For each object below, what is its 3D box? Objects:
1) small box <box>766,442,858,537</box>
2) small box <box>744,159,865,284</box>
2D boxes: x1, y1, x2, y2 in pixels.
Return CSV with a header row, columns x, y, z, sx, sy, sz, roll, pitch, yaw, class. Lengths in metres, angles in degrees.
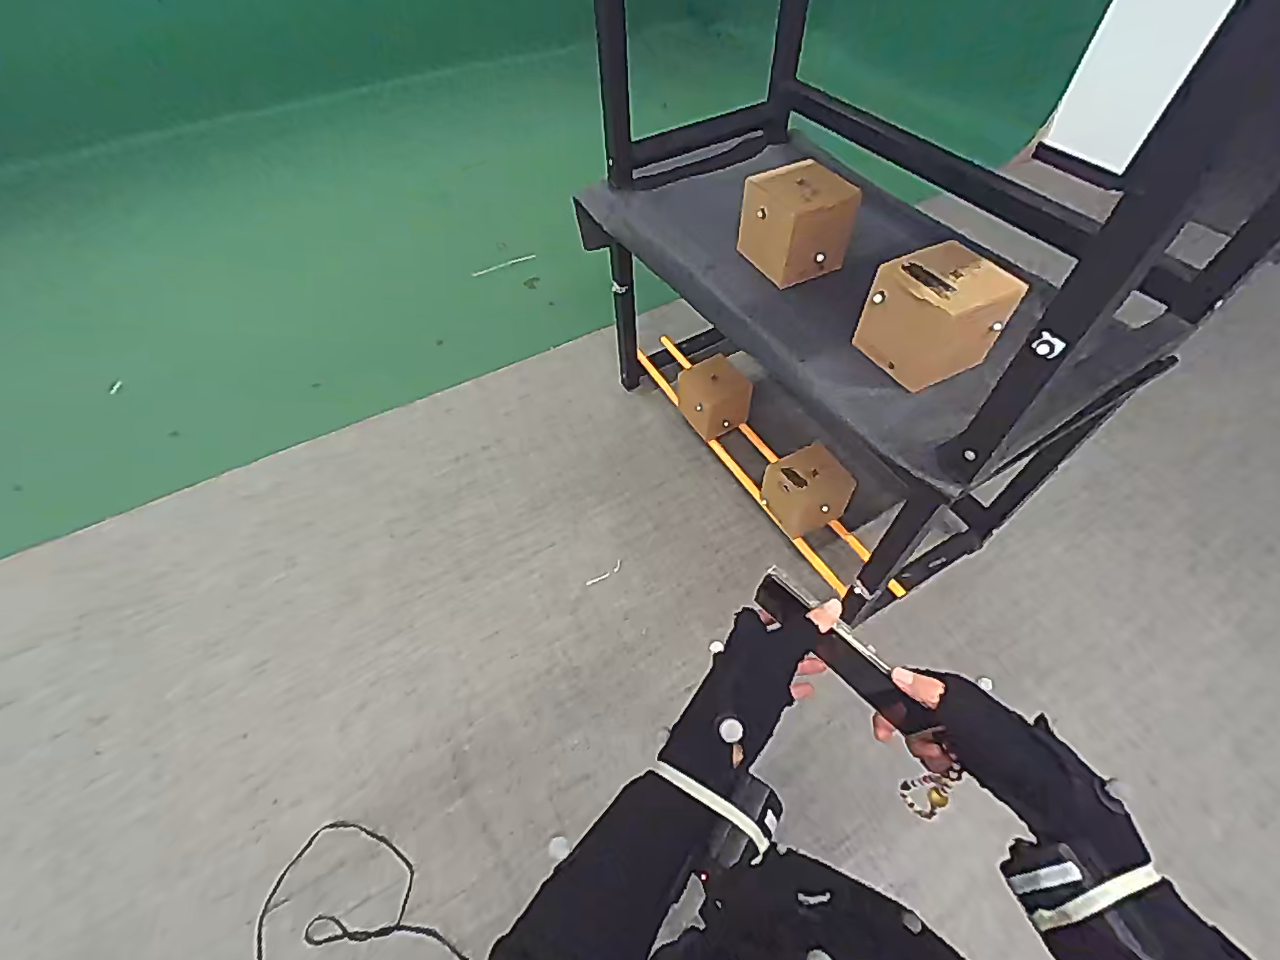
x,y,z,sx,sy,sz,roll,pitch,yaw,class
0.466,0.032,1.499,0.179,0.176,0.168,-23,56,-13,small box
0.339,-0.552,1.159,0.168,0.176,0.179,-23,56,-13,small box
